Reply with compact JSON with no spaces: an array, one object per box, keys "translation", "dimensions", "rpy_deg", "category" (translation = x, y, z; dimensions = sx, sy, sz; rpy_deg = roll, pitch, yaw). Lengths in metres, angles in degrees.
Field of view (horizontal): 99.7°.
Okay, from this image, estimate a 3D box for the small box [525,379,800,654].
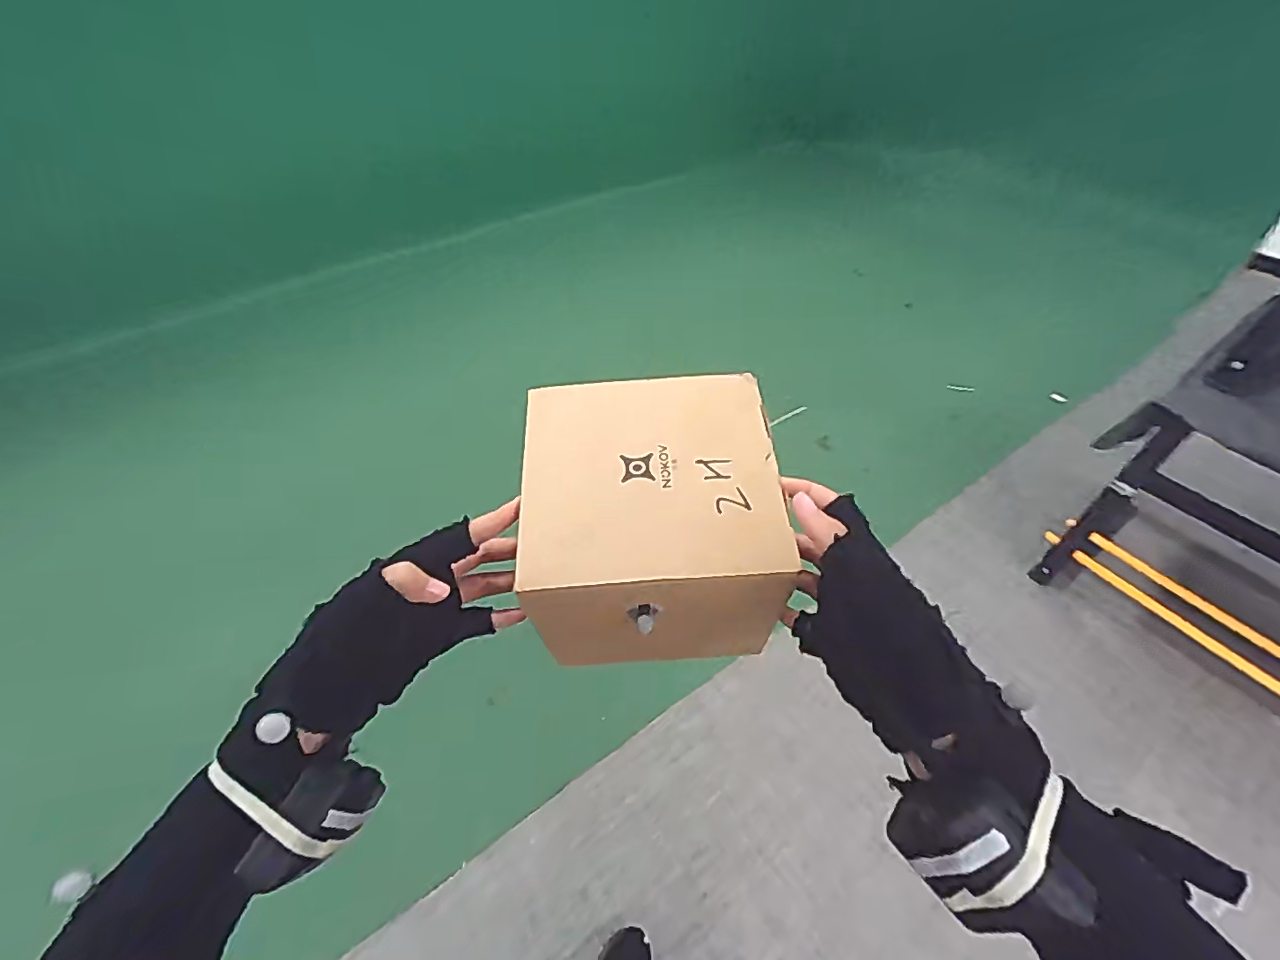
[{"translation":[0.014,0.038,0.445],"dimensions":[0.179,0.176,0.168],"rpy_deg":[-3,58,0],"category":"small box"}]
